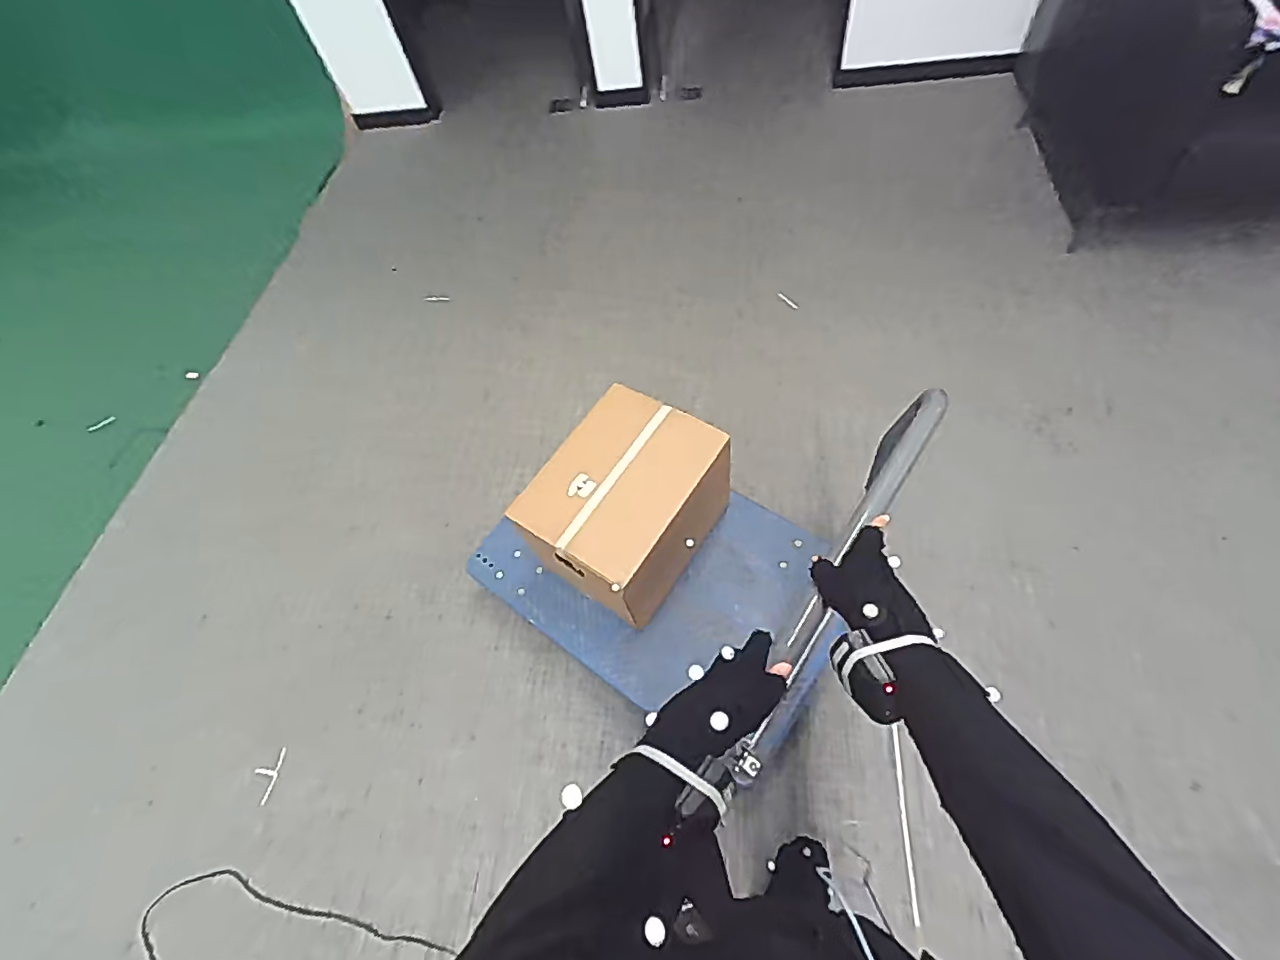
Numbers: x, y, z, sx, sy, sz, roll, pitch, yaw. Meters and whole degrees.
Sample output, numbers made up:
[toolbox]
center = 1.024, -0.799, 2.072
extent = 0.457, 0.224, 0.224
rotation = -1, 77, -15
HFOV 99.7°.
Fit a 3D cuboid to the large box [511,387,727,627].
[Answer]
[large box]
center = -0.022, 0.067, 1.274
extent = 0.320, 0.320, 0.408
rotation = 28, 69, 23
